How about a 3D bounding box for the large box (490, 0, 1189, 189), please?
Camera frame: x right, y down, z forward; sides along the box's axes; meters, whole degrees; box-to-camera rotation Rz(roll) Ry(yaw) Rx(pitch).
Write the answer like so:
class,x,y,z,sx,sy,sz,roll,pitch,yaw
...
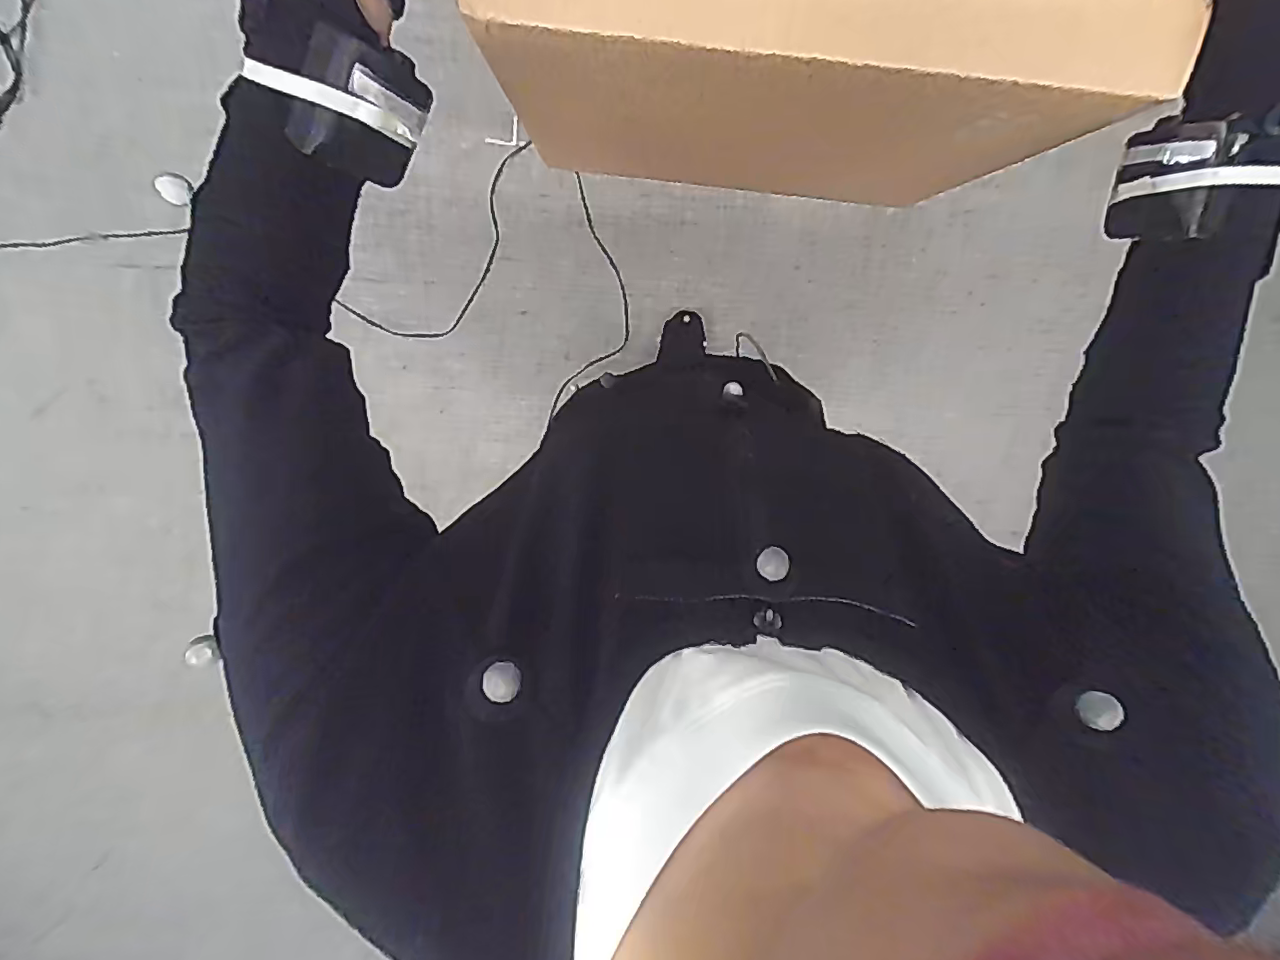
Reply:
class,x,y,z,sx,sy,sz,roll,pitch,yaw
large box,0.115,-0.435,0.406,0.408,0.320,0.320,4,107,-3
